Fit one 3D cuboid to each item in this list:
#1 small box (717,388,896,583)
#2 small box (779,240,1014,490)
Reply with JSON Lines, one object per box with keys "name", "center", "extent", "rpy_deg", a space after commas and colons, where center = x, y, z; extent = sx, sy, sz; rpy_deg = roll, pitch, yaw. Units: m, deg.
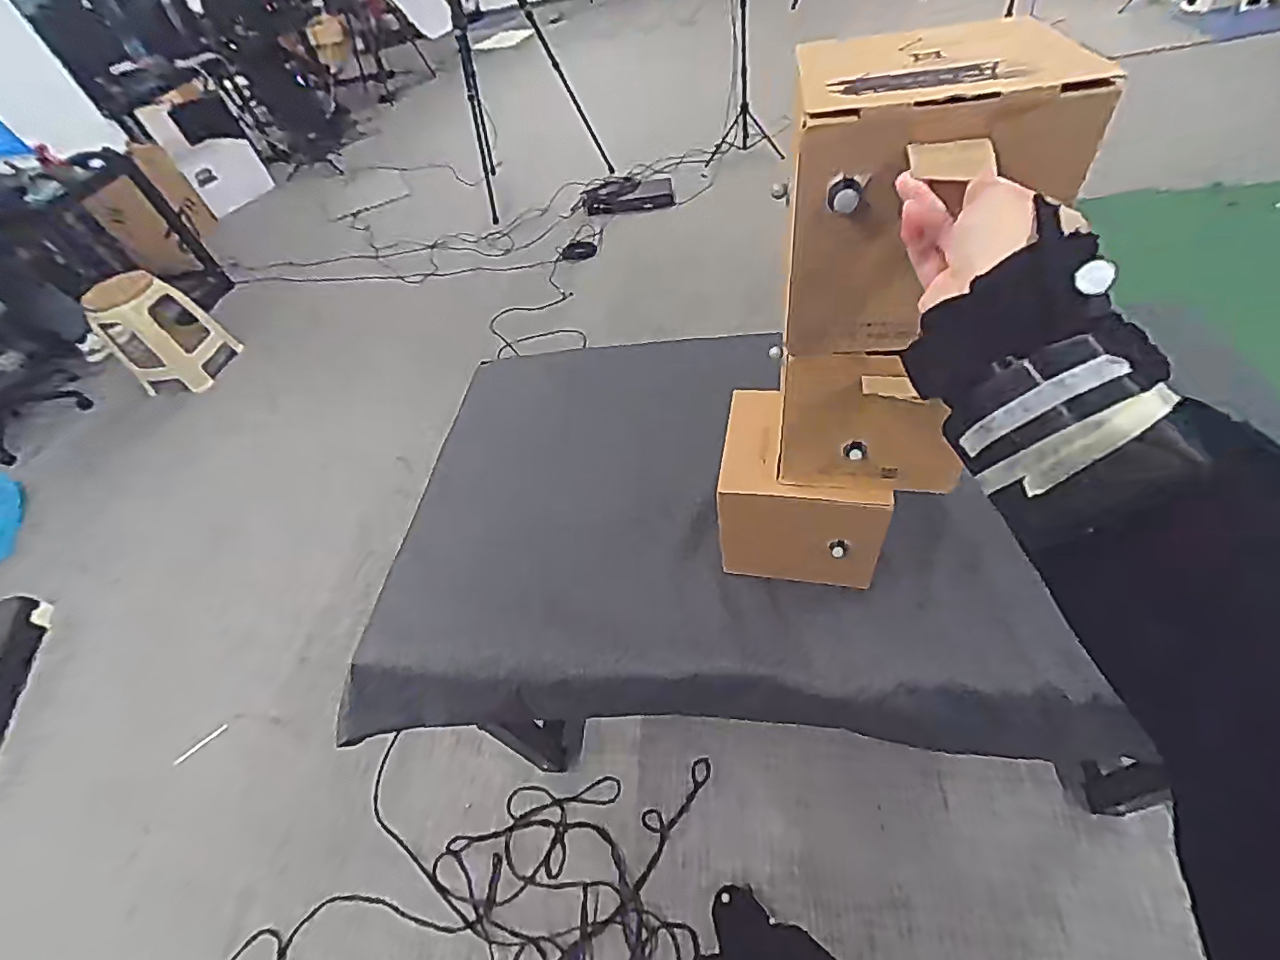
{"name": "small box", "center": [0.194, 0.008, 0.651], "extent": [0.179, 0.176, 0.168], "rpy_deg": [3, 51, 16]}
{"name": "small box", "center": [0.227, -0.113, 0.533], "extent": [0.168, 0.176, 0.179], "rpy_deg": [3, 51, 13]}
